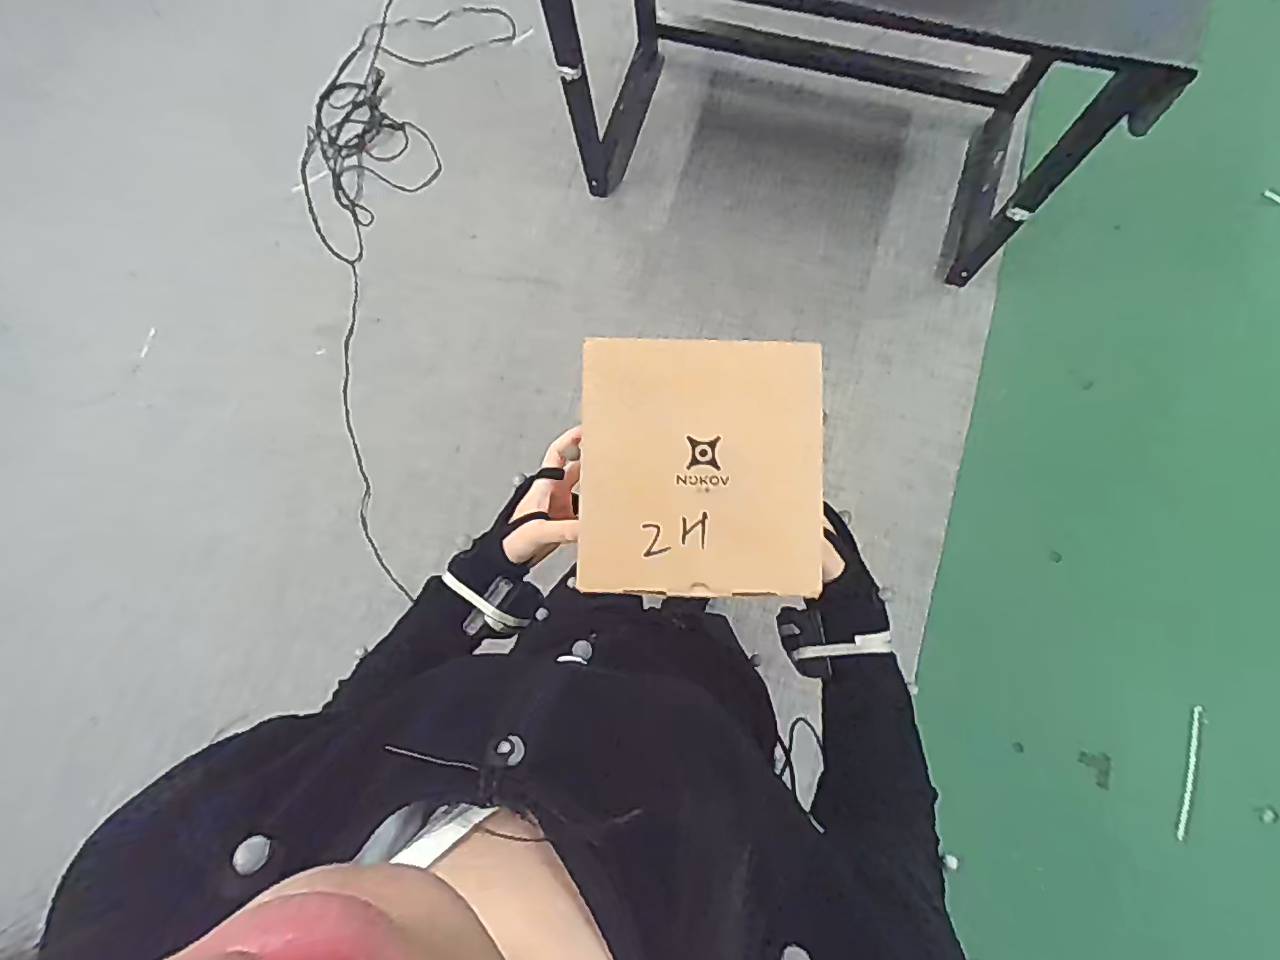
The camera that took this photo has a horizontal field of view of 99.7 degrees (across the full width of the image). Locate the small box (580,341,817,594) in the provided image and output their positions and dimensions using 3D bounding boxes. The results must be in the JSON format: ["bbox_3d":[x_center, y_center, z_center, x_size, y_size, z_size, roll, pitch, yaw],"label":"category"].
[{"bbox_3d":[0.040,-0.004,0.456,0.168,0.176,0.179,1,87,0],"label":"small box"}]
